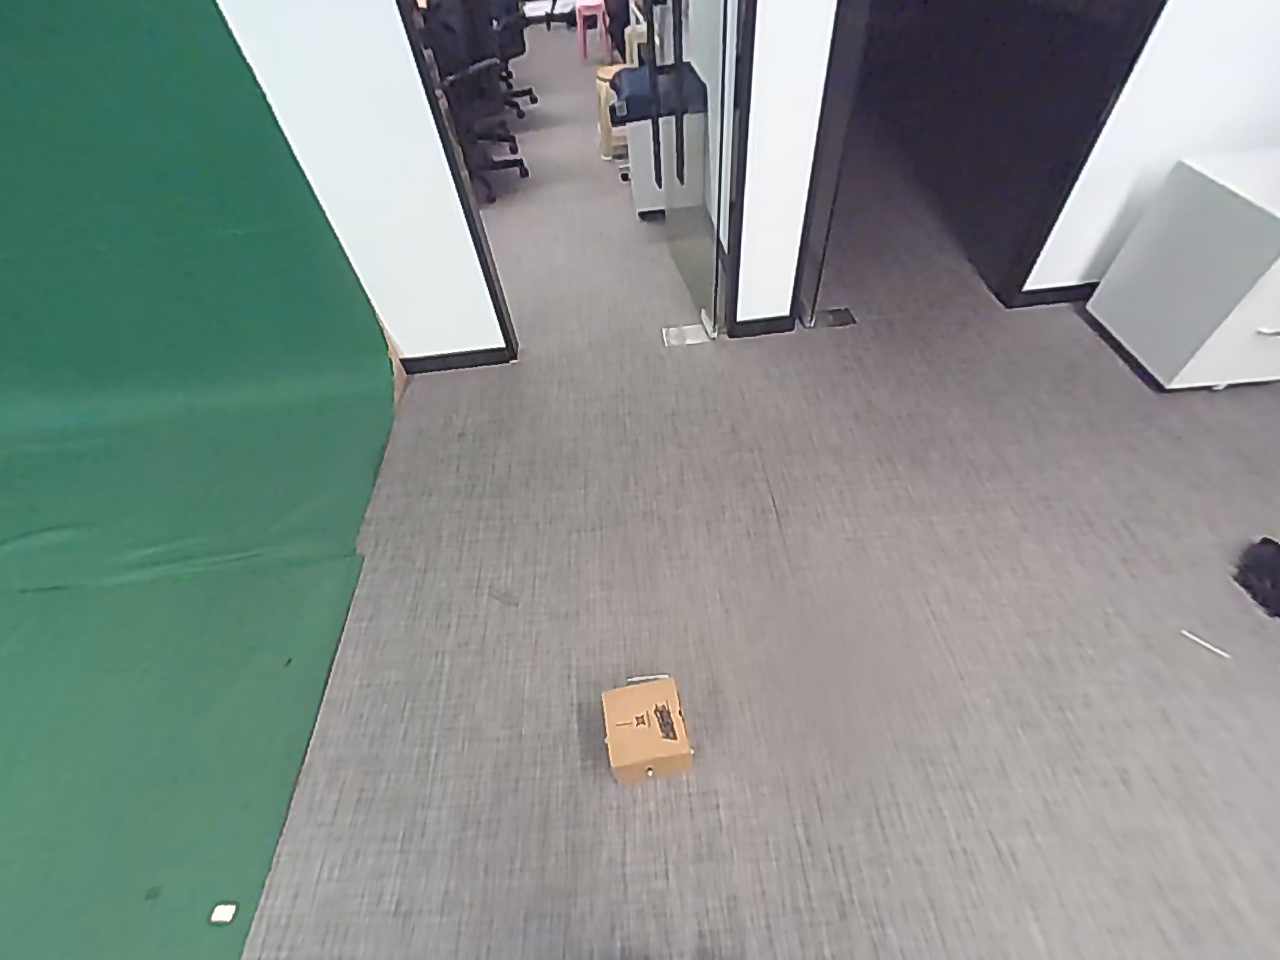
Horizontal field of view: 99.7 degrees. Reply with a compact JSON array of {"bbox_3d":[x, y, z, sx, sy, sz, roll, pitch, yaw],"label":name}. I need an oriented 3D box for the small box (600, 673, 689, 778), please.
[{"bbox_3d":[0.010,0.579,1.275,0.179,0.176,0.168,-12,50,-6],"label":"small box"}]
